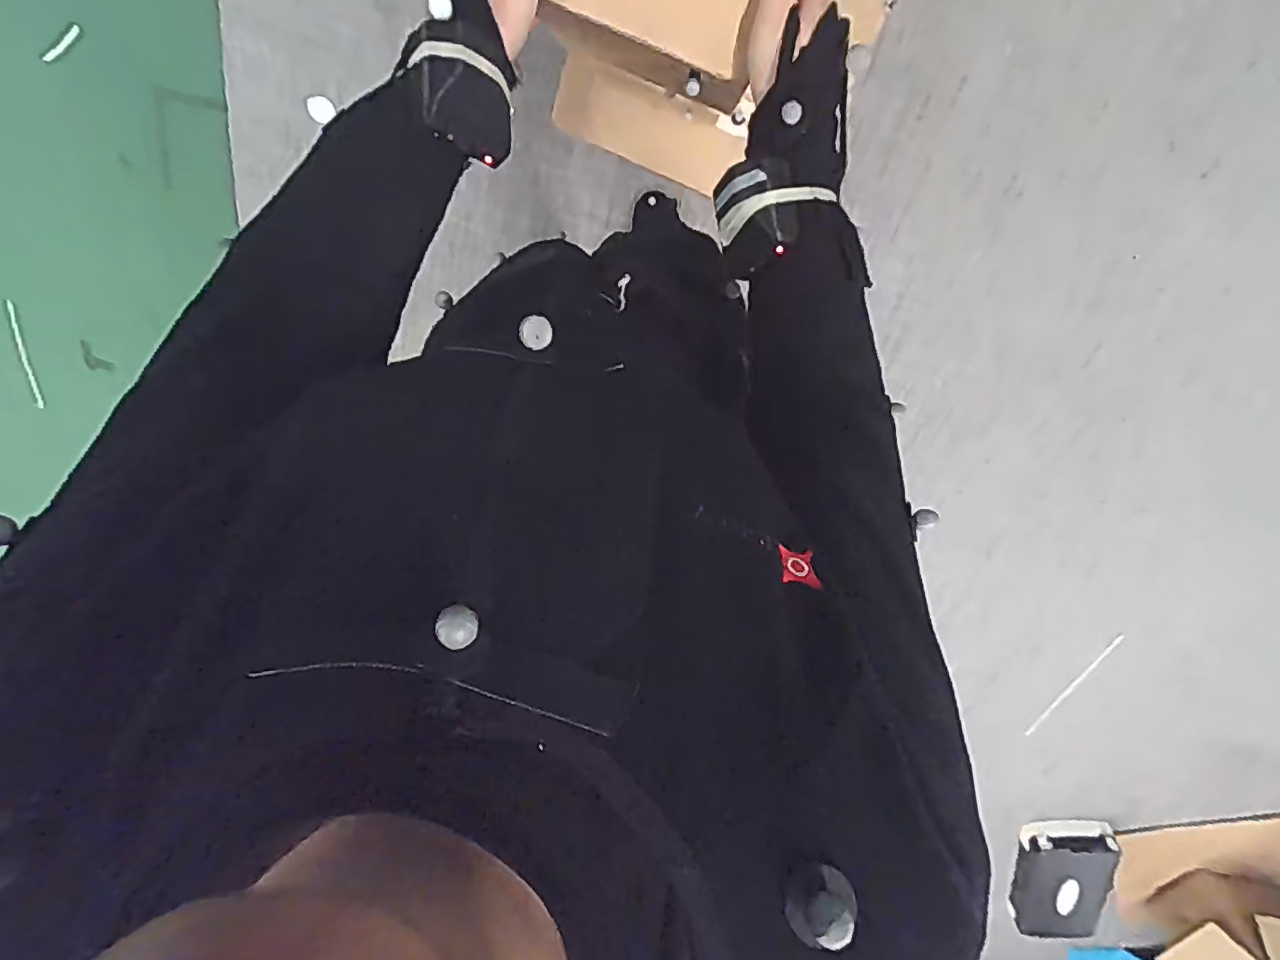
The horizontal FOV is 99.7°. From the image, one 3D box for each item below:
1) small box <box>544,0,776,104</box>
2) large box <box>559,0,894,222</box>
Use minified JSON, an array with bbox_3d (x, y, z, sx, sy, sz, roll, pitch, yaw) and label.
[{"bbox_3d":[0.027,-0.415,0.410,0.179,0.176,0.168,19,118,-5],"label":"small box"},{"bbox_3d":[0.120,-0.675,0.909,0.408,0.320,0.320,21,120,-6],"label":"large box"}]
